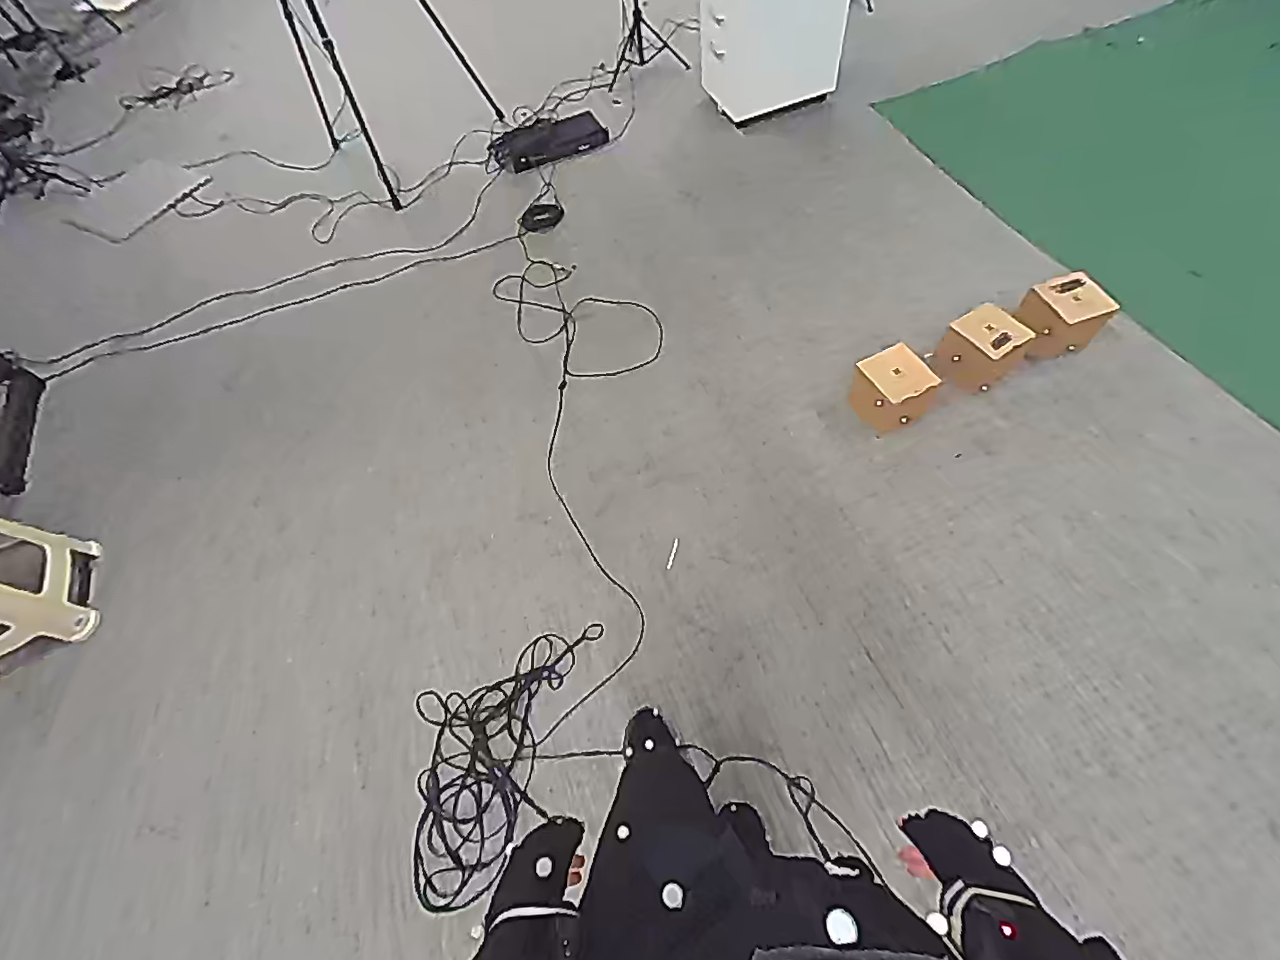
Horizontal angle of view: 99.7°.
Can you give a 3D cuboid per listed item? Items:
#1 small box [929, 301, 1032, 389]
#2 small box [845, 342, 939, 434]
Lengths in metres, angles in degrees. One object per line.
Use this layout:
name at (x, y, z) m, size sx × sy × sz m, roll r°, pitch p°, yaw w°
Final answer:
small box at (1.029, -0.401, 1.651) m, size 0.168 × 0.176 × 0.179 m, roll -29°, pitch 60°, yaw -10°
small box at (0.742, -0.270, 1.616) m, size 0.168 × 0.176 × 0.179 m, roll -26°, pitch 61°, yaw -6°
